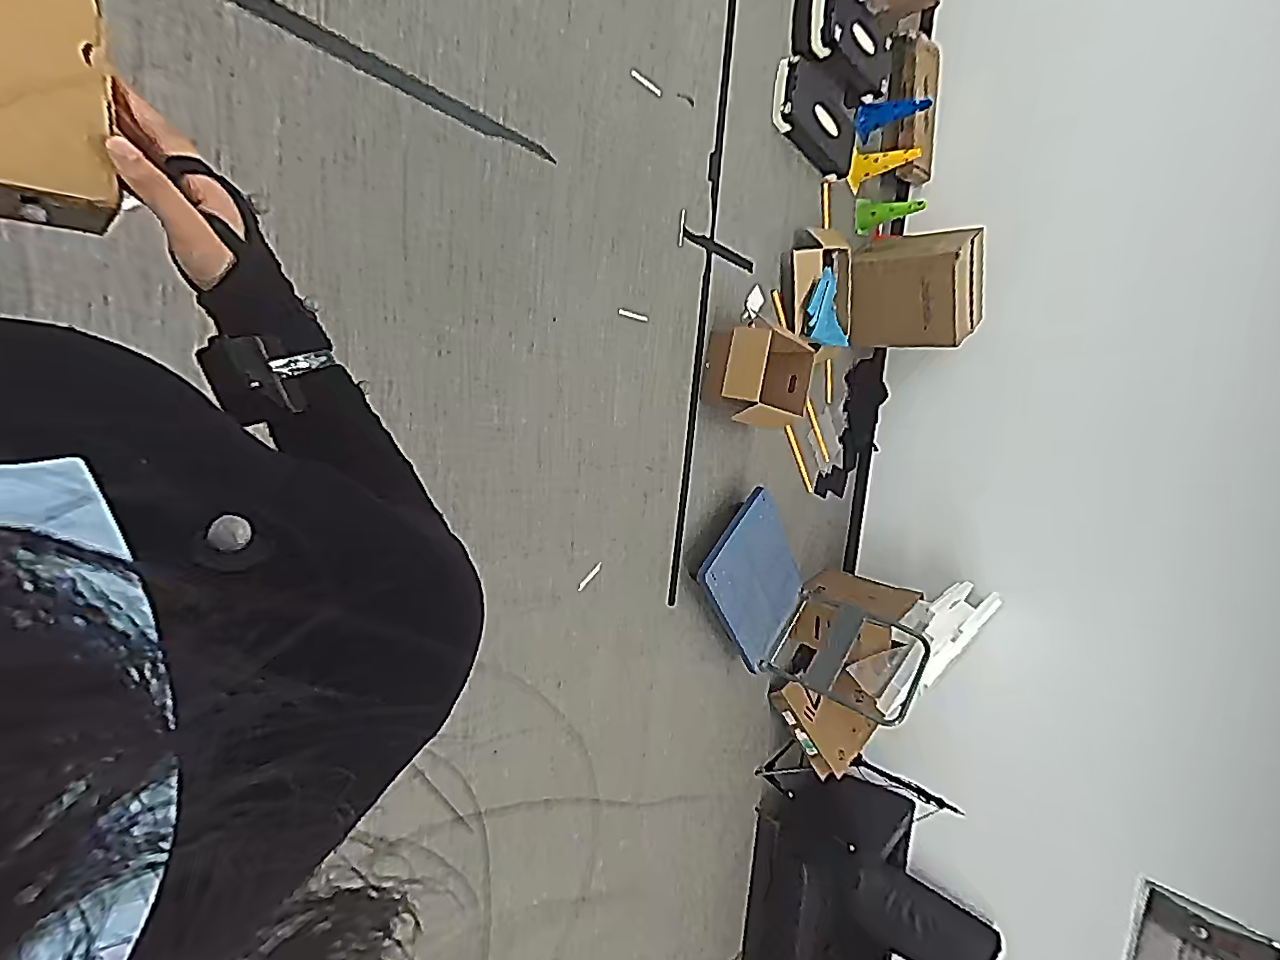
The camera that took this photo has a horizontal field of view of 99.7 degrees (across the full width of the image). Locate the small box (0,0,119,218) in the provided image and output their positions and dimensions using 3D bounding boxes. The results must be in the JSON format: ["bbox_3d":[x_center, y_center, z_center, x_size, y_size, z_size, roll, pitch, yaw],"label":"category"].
[{"bbox_3d":[-0.438,-0.265,0.313,0.179,0.176,0.168,-9,108,-48],"label":"small box"}]

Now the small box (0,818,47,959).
[{"bbox_3d":[-1.079,0.682,0.864,0.168,0.176,0.179,5,96,-47],"label":"small box"}]
